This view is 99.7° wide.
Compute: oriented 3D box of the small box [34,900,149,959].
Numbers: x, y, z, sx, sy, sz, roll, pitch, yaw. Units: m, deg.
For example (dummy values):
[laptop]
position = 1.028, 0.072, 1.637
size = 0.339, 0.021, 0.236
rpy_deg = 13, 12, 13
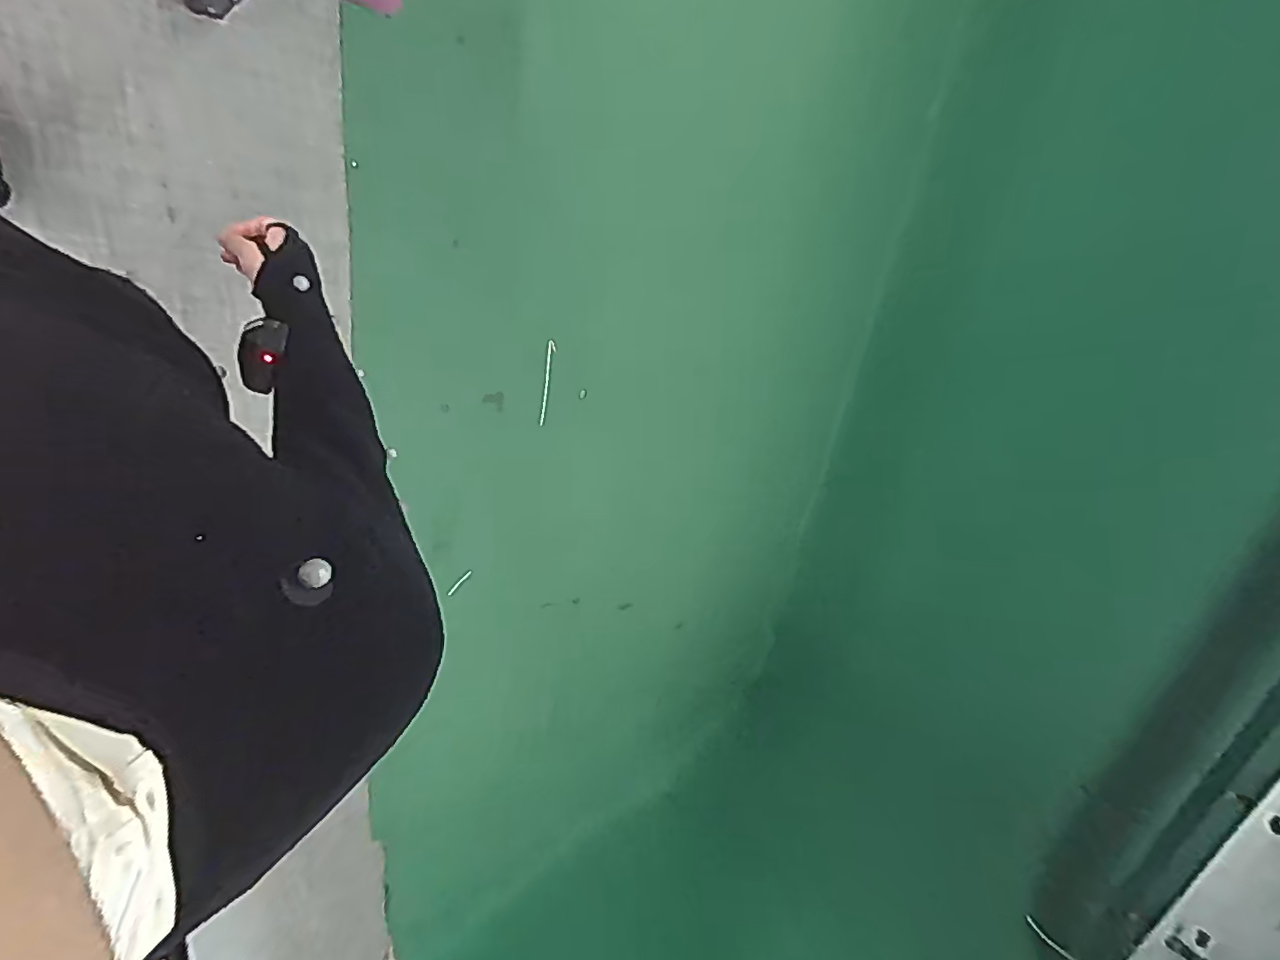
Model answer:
[small box]
position = -1.182, 1.077, 1.173
size = 0.168, 0.176, 0.179
rpy_deg = -10, 120, -44
